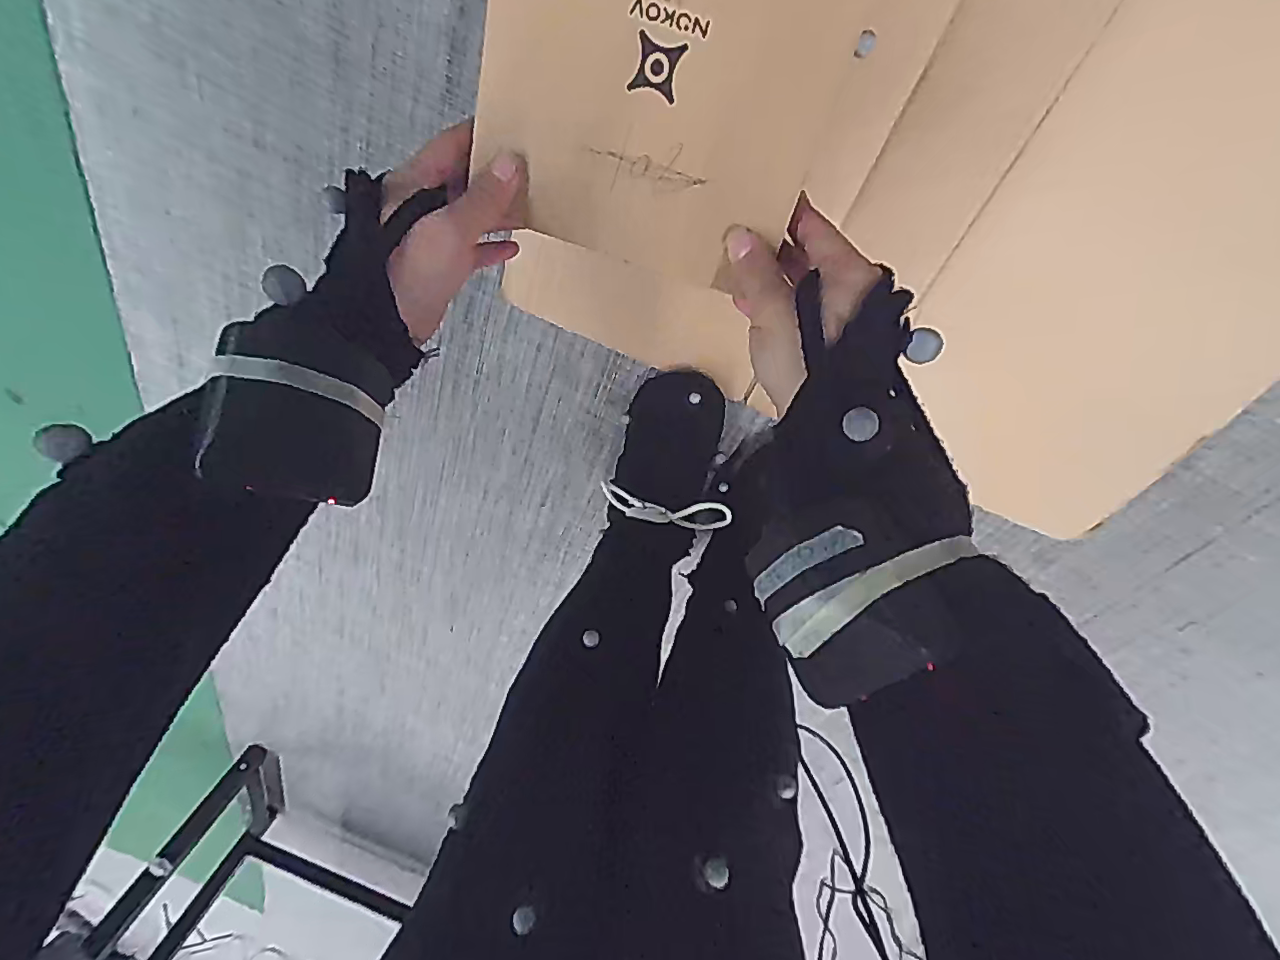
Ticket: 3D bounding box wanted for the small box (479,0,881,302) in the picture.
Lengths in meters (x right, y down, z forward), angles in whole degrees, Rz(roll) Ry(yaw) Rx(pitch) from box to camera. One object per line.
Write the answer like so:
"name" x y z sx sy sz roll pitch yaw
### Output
"small box" 0.026 -0.228 0.320 0.168 0.176 0.179 18 119 2
